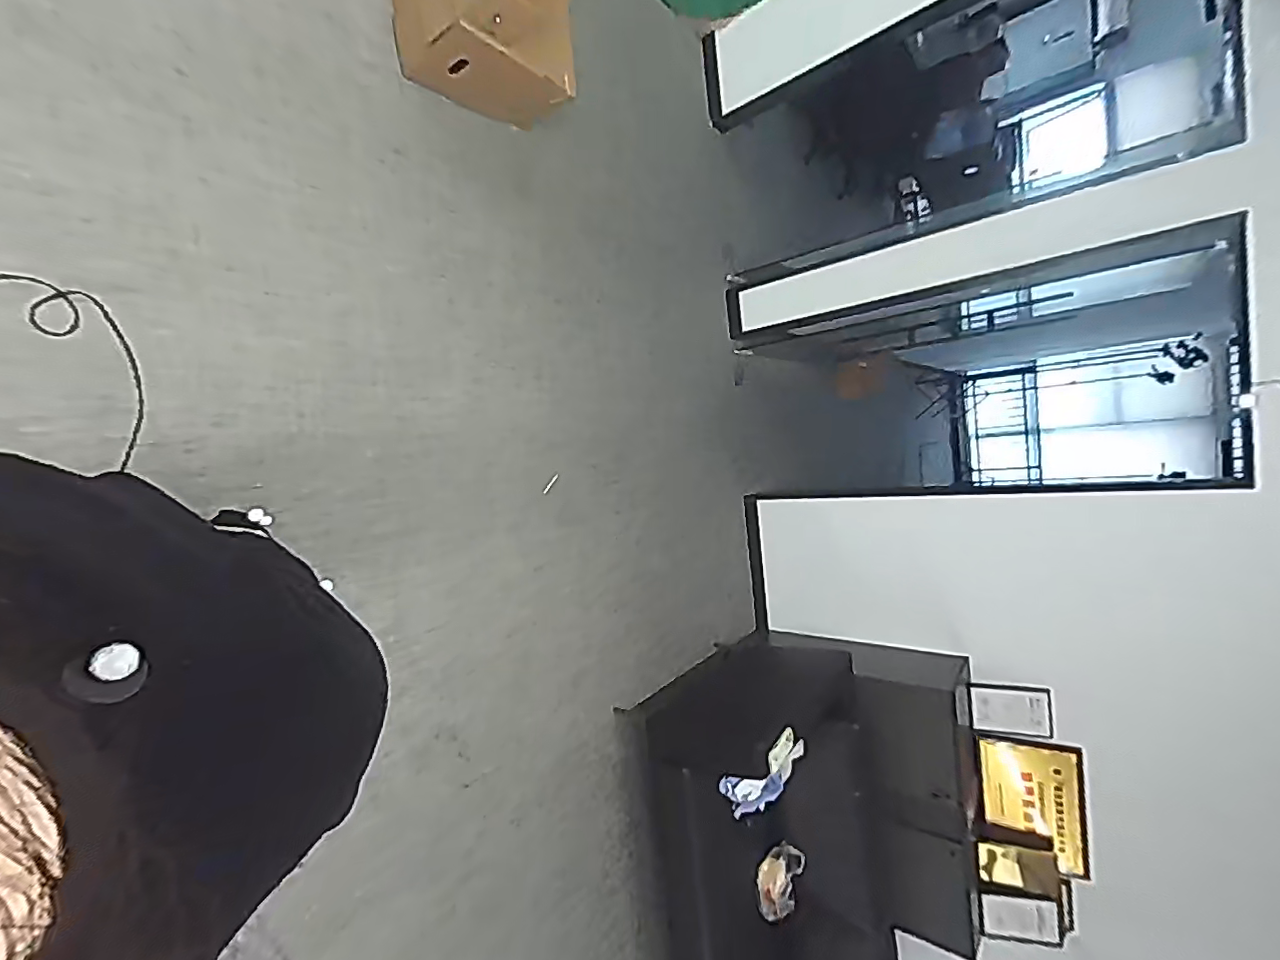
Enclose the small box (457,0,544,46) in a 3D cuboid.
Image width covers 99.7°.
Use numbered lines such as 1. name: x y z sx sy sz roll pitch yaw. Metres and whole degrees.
1. small box: -0.381 -1.331 1.454 0.168 0.176 0.179 -8 95 -52
